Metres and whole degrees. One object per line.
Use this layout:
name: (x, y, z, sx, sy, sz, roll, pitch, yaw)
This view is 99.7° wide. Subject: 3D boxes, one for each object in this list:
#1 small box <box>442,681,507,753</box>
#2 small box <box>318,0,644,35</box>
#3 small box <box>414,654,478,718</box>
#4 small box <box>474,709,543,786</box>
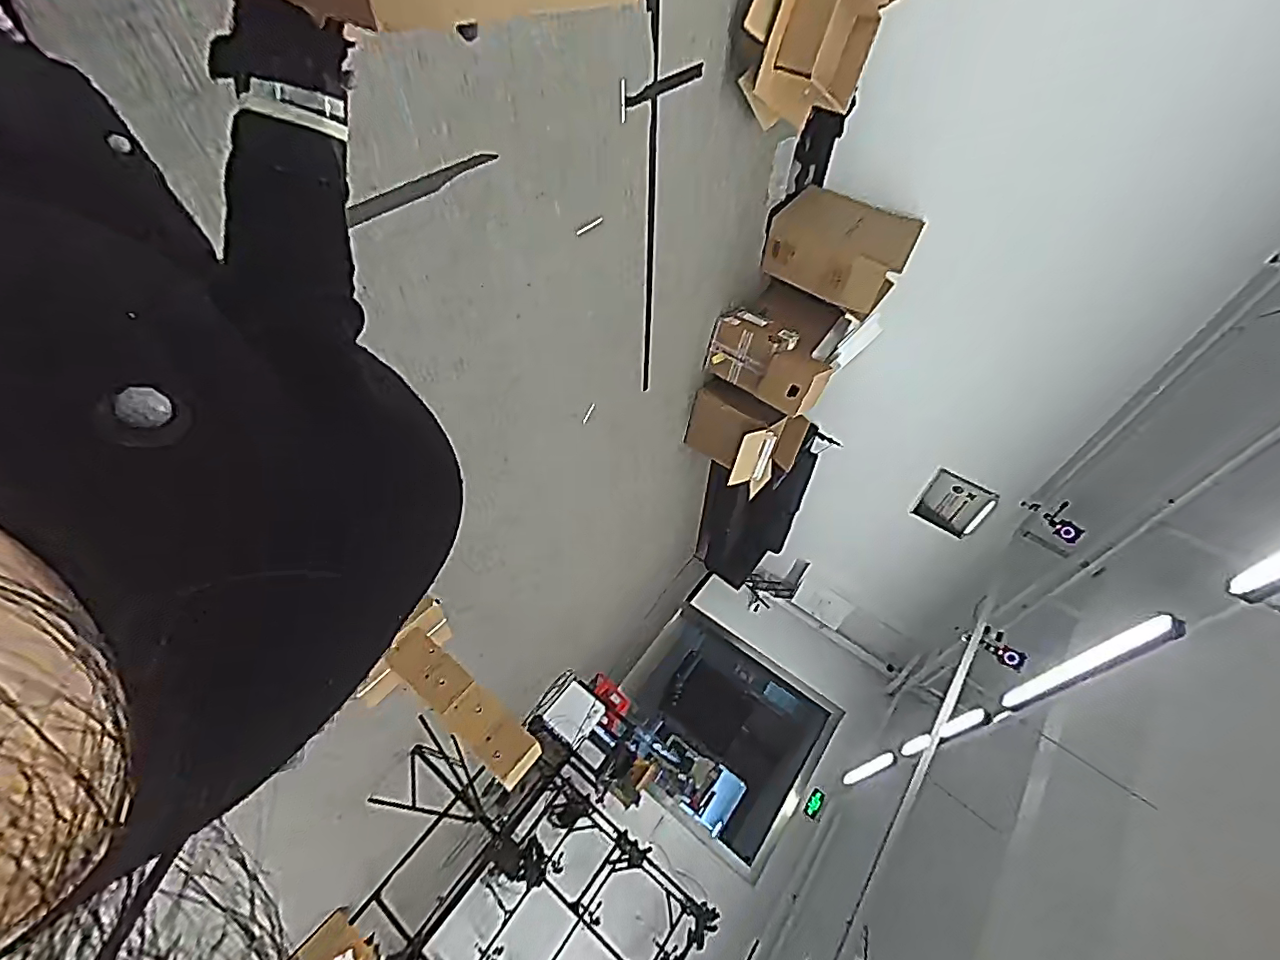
small box: (-0.599, 0.870, 1.986, 0.168, 0.176, 0.179, -45, 156, -31)
small box: (-0.110, -0.341, 0.261, 0.179, 0.176, 0.168, -39, 153, -31)
small box: (-0.726, 0.789, 2.048, 0.168, 0.176, 0.179, -43, 154, -33)
small box: (-0.470, 0.953, 1.933, 0.168, 0.176, 0.179, -44, 157, -31)
